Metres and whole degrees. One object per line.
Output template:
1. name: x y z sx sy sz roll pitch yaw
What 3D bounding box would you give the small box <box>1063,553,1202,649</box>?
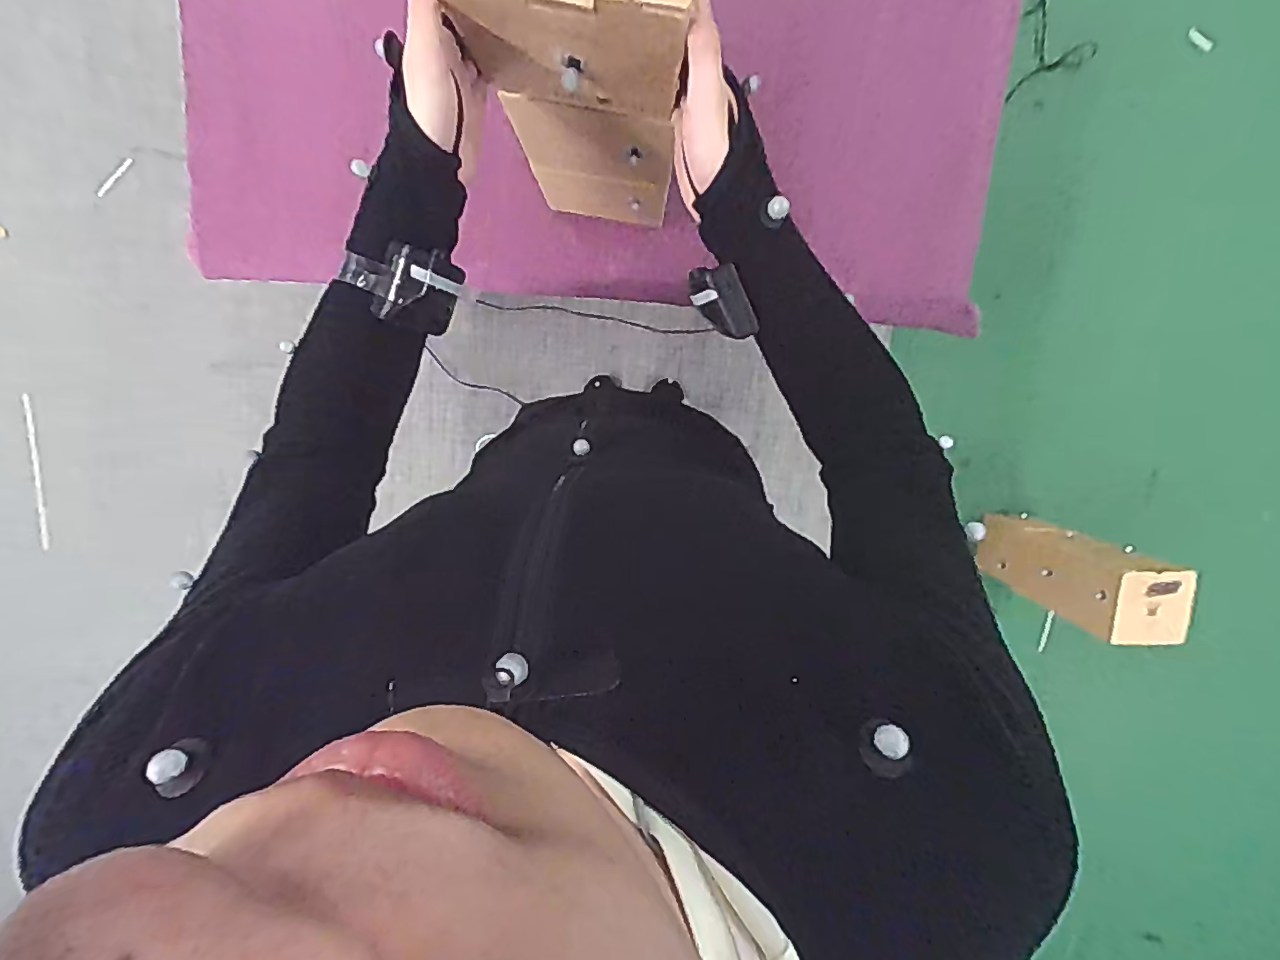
1. small box: 1.142 0.276 1.269 0.168 0.176 0.179 0 100 1

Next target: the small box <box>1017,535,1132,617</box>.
1. small box: 1.140 0.252 1.432 0.168 0.176 0.179 2 98 0

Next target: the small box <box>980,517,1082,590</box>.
1. small box: 1.138 0.217 1.591 0.168 0.176 0.179 5 99 -1

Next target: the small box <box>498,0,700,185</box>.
1. small box: -0.038 -0.440 0.580 0.179 0.176 0.168 8 99 -1

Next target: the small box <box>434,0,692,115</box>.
1. small box: -0.039 -0.393 0.383 0.168 0.176 0.179 8 105 -2
